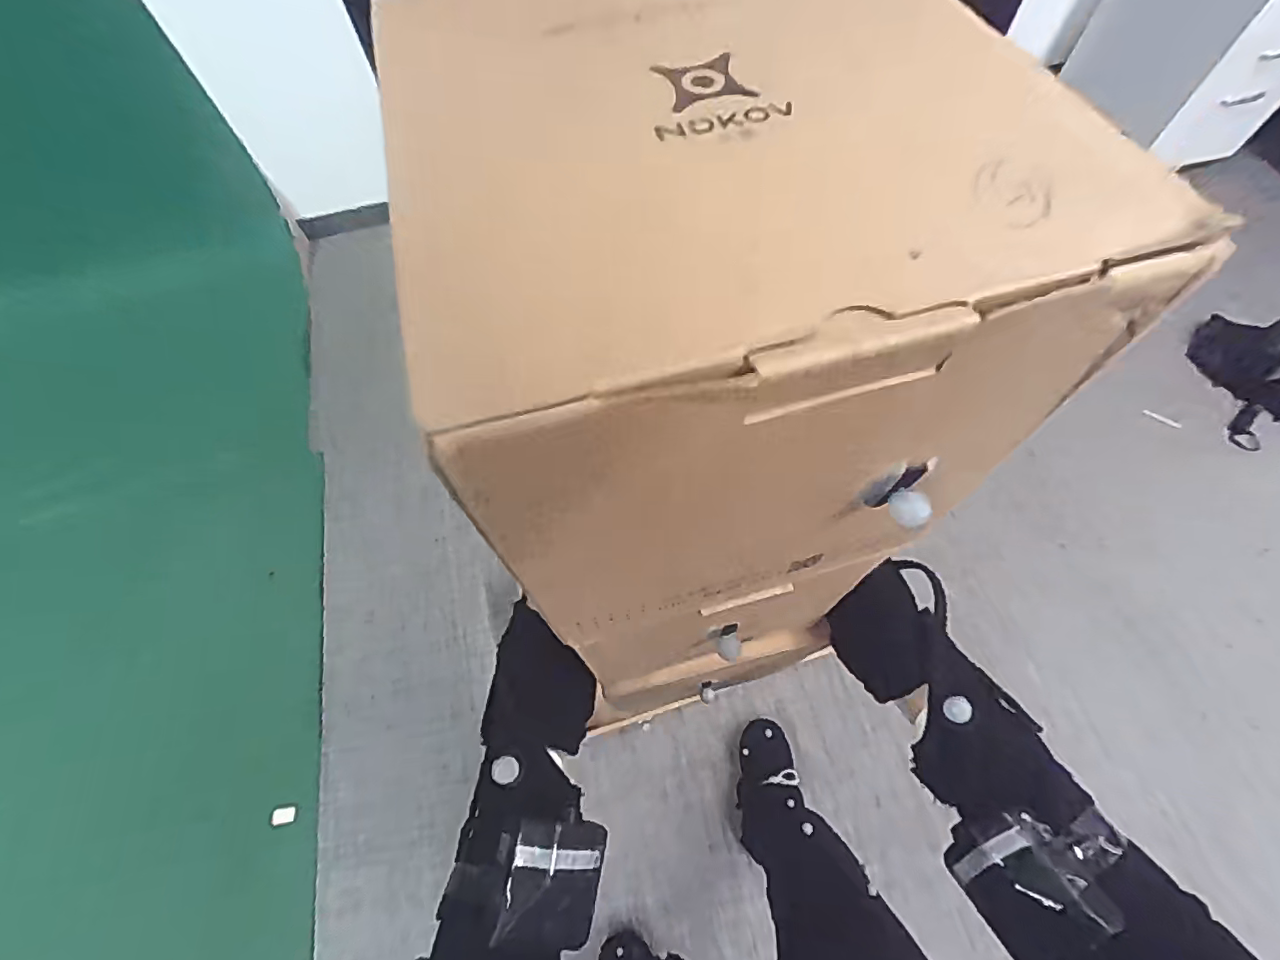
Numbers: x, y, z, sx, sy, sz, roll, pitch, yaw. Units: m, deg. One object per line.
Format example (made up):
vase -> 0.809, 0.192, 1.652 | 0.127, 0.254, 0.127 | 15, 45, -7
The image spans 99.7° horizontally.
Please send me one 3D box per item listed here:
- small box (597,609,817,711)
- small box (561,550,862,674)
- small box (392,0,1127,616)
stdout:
small box -> 0.041, 0.113, 0.523 | 0.179, 0.176, 0.168 | -13, 61, -4
small box -> 0.023, 0.027, 0.388 | 0.168, 0.176, 0.179 | -17, 62, -5
small box -> 0.017, -0.056, 0.226 | 0.168, 0.176, 0.179 | -15, 61, -6
